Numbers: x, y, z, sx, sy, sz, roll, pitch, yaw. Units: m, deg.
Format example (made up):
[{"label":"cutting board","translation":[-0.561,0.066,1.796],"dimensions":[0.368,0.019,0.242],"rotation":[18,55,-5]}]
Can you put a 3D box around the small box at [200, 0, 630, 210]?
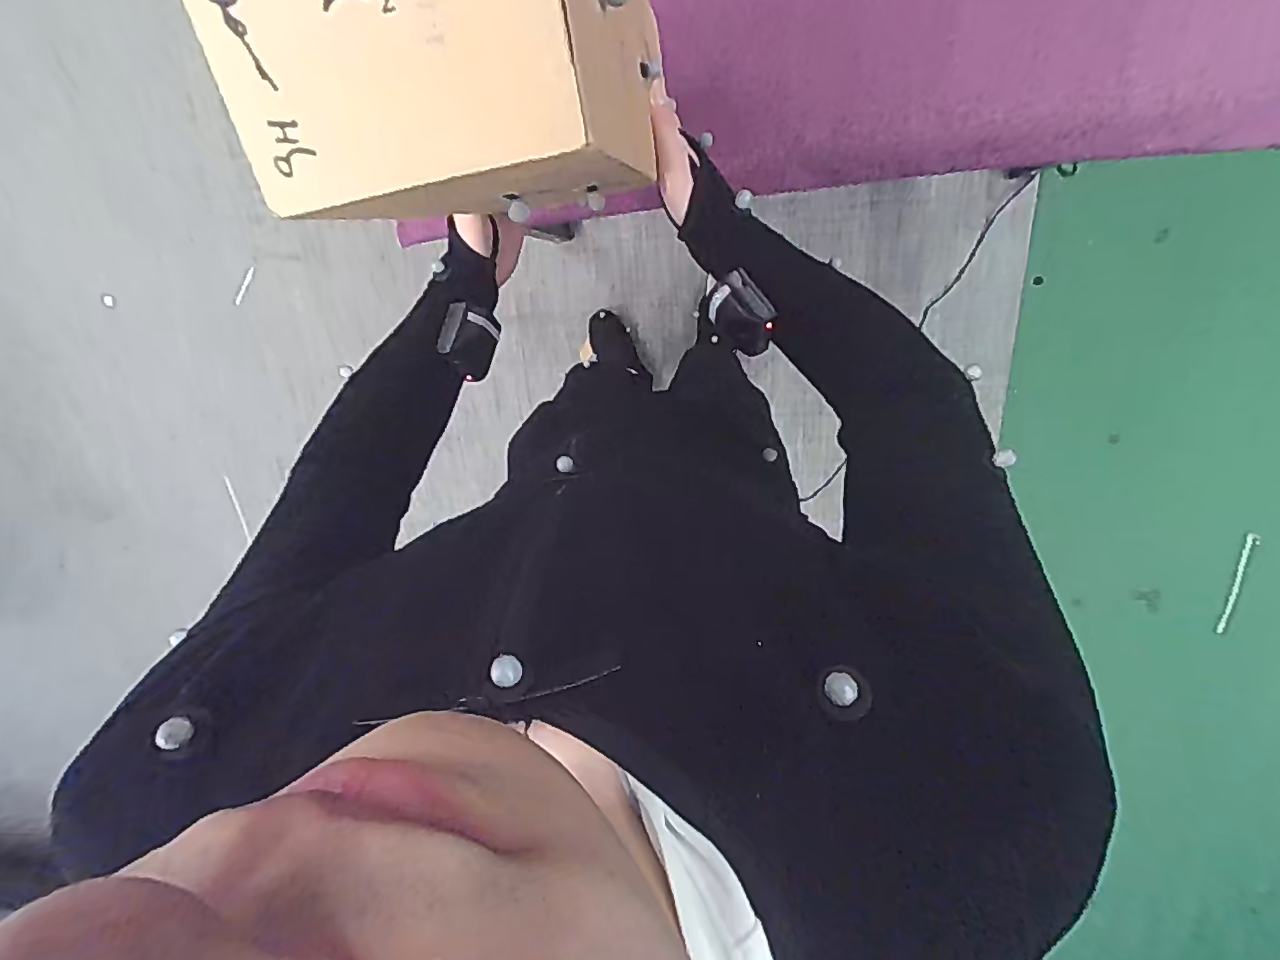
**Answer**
[{"label":"small box","translation":[-0.107,-0.259,0.307],"dimensions":[0.179,0.176,0.168],"rotation":[-5,115,12]}]

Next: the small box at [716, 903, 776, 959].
[{"label":"small box","translation":[0.340,1.505,1.733],"dimensions":[0.179,0.176,0.168],"rotation":[6,110,9]}]

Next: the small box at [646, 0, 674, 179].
[{"label":"small box","translation":[-0.060,-0.418,0.591],"dimensions":[0.179,0.176,0.168],"rotation":[-4,115,13]}]

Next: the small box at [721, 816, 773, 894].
[{"label":"small box","translation":[0.401,1.410,2.041],"dimensions":[0.179,0.176,0.168],"rotation":[4,110,10]}]

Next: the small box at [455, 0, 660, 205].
[{"label":"small box","translation":[-0.081,-0.334,0.451],"dimensions":[0.179,0.176,0.168],"rotation":[-4,115,13]}]
